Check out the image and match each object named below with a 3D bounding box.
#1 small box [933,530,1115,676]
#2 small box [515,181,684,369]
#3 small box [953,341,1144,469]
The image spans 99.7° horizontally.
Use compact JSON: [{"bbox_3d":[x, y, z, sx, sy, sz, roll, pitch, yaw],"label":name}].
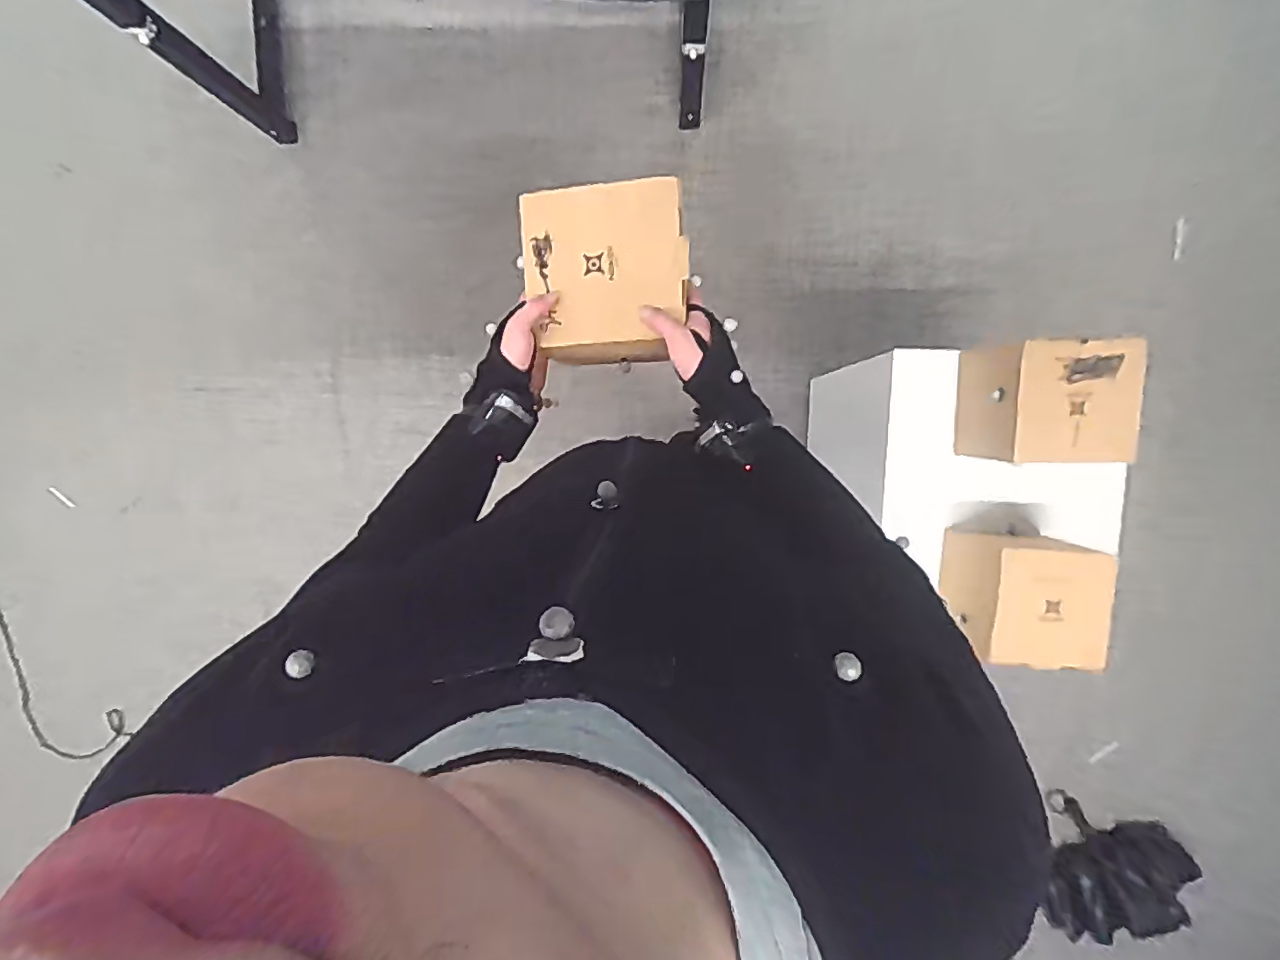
[{"bbox_3d":[0.590,0.185,0.857,0.168,0.176,0.179,4,94,2],"label":"small box"},{"bbox_3d":[-0.036,-0.231,0.652,0.179,0.176,0.168,-3,93,7],"label":"small box"},{"bbox_3d":[0.605,-0.112,0.825,0.168,0.176,0.179,0,97,4],"label":"small box"}]
